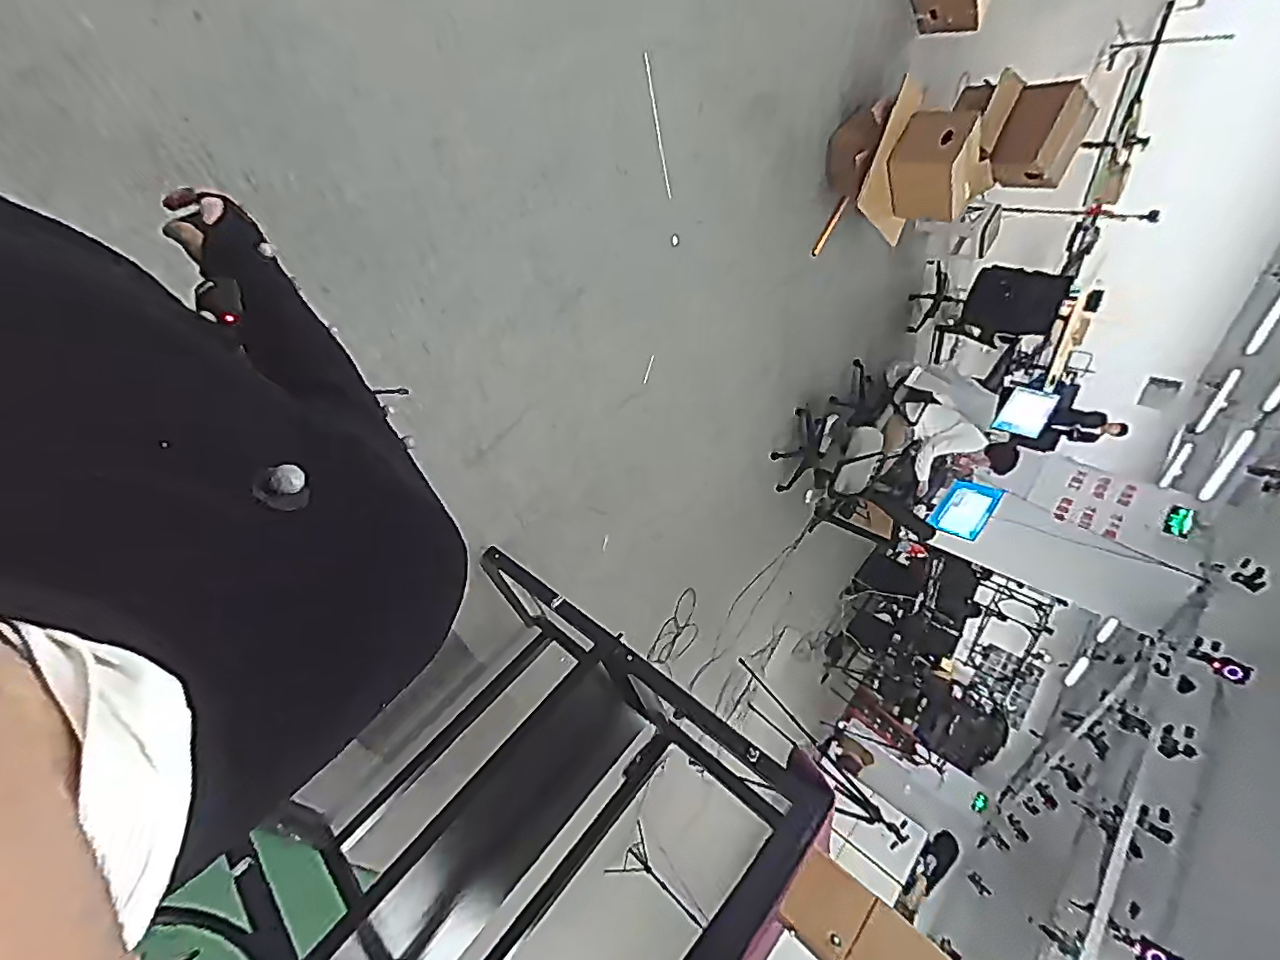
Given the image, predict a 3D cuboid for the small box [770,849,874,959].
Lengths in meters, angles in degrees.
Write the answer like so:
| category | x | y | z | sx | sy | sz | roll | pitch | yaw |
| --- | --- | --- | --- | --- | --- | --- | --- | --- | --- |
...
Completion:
| category | x | y | z | sx | sy | sz | roll | pitch | yaw |
| --- | --- | --- | --- | --- | --- | --- | --- | --- | --- |
| small box | 0.429 | 1.031 | 1.290 | 0.179 | 0.176 | 0.168 | -41 | 139 | -25 |
